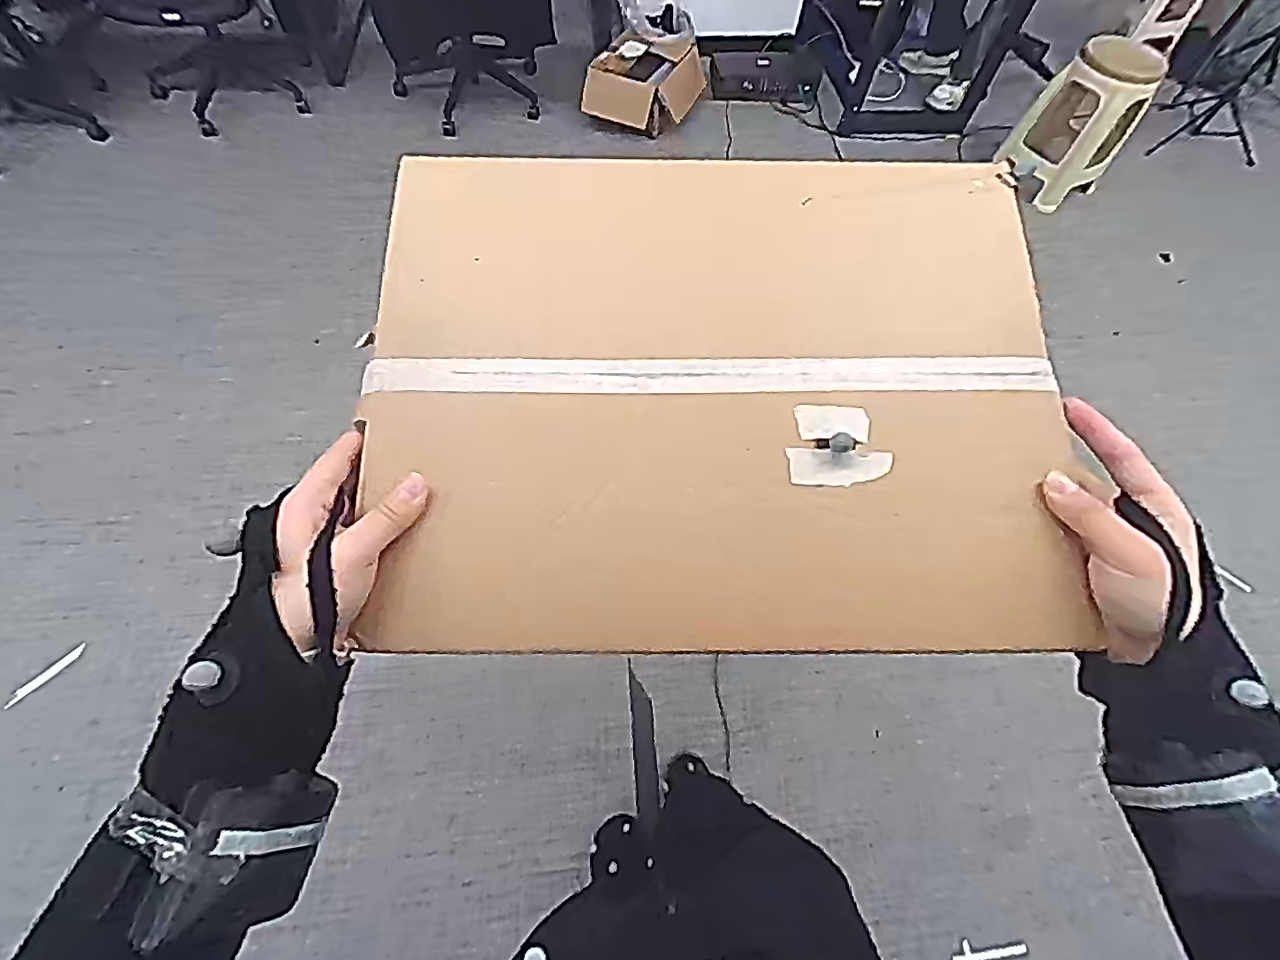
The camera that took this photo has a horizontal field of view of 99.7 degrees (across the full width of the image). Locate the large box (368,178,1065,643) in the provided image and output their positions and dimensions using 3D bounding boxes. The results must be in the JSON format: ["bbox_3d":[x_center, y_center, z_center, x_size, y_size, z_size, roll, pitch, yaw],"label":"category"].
[{"bbox_3d":[0.039,-0.026,0.483,0.408,0.320,0.320,0,76,-1],"label":"large box"}]
